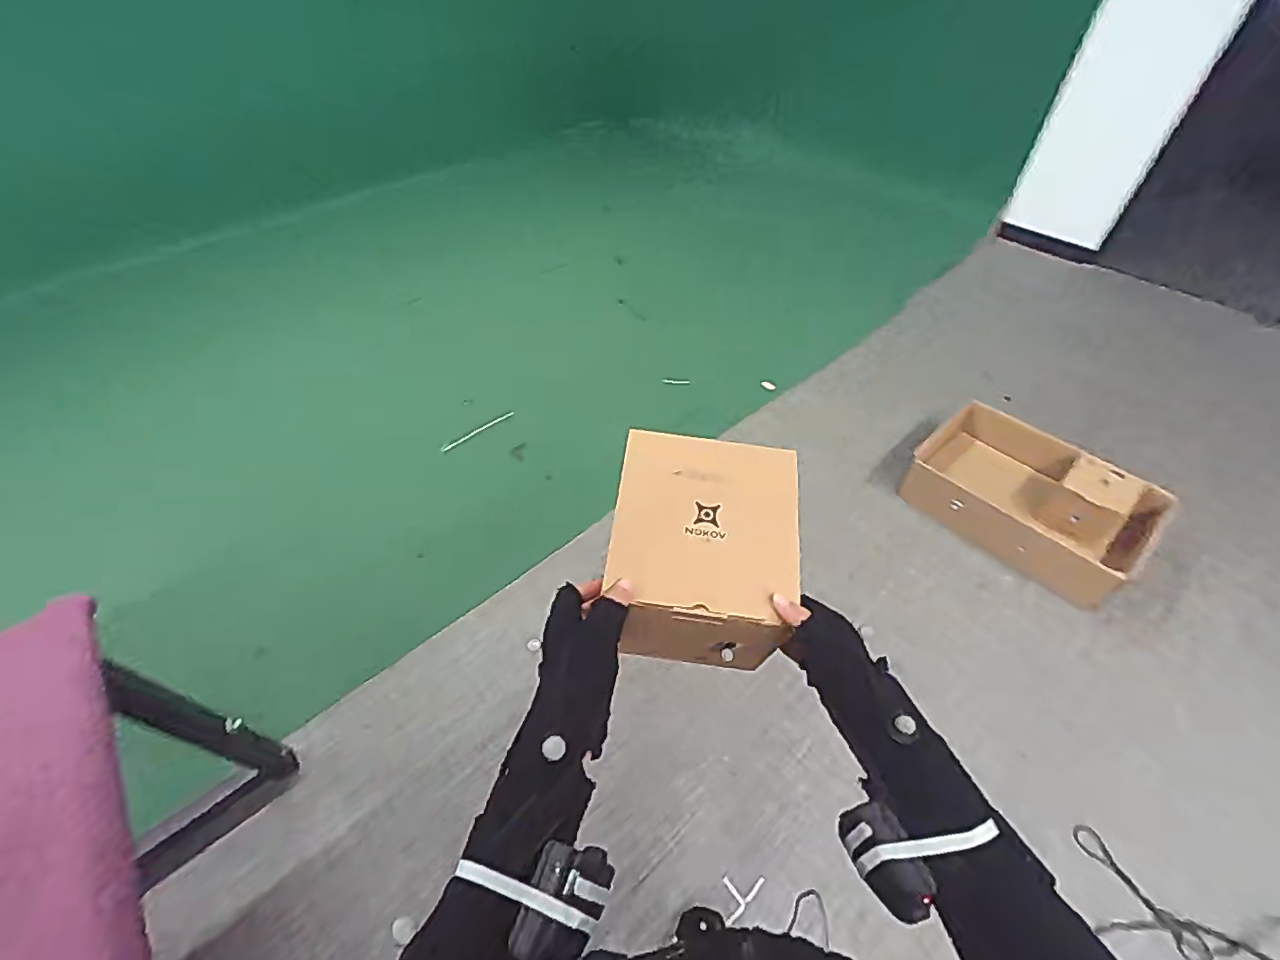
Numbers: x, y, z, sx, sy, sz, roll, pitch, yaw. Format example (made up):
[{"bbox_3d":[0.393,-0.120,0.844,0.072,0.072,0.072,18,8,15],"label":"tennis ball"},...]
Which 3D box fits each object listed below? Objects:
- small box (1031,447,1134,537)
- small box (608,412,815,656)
[{"bbox_3d":[1.324,0.041,1.629,0.168,0.176,0.179,34,59,29],"label":"small box"},{"bbox_3d":[0.065,0.061,0.533,0.168,0.176,0.179,9,59,2],"label":"small box"}]
